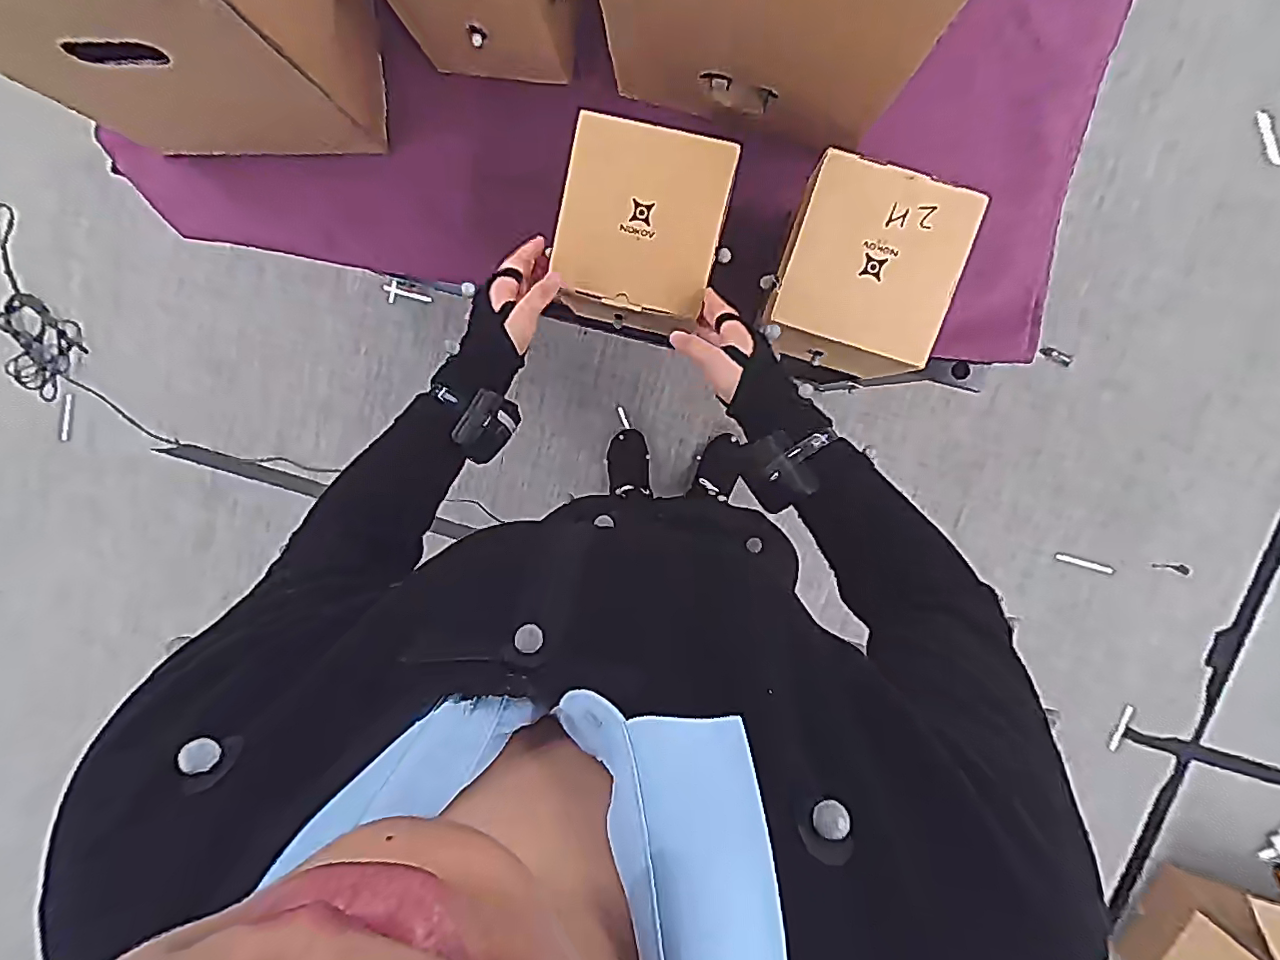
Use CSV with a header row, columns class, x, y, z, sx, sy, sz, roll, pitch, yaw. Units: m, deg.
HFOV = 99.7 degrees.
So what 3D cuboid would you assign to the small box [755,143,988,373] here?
class,x,y,z,sx,sy,sz,roll,pitch,yaw
small box,0.238,-0.229,0.610,0.168,0.176,0.179,18,97,1
